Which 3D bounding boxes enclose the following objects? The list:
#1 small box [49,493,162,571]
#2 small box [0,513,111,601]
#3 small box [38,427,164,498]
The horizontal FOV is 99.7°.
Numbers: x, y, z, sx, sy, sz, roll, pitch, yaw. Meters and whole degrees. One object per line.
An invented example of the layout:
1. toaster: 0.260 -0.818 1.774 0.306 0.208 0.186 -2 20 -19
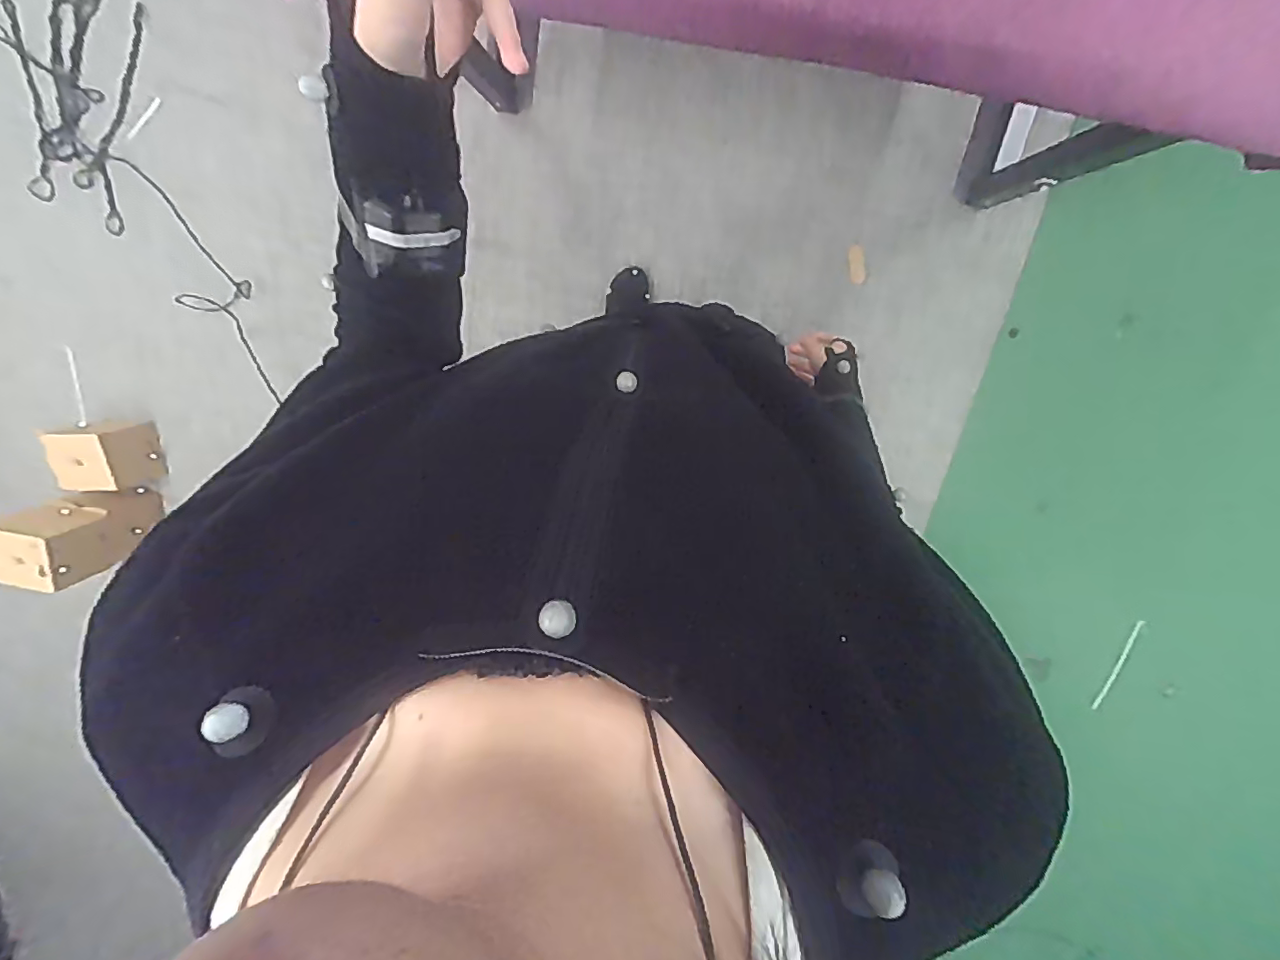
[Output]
1. small box: -1.605 0.148 1.634 0.168 0.176 0.179 10 109 3
2. small box: -1.620 0.203 1.481 0.179 0.176 0.168 12 108 3
3. small box: -1.551 -0.055 1.567 0.179 0.176 0.168 1 108 4
